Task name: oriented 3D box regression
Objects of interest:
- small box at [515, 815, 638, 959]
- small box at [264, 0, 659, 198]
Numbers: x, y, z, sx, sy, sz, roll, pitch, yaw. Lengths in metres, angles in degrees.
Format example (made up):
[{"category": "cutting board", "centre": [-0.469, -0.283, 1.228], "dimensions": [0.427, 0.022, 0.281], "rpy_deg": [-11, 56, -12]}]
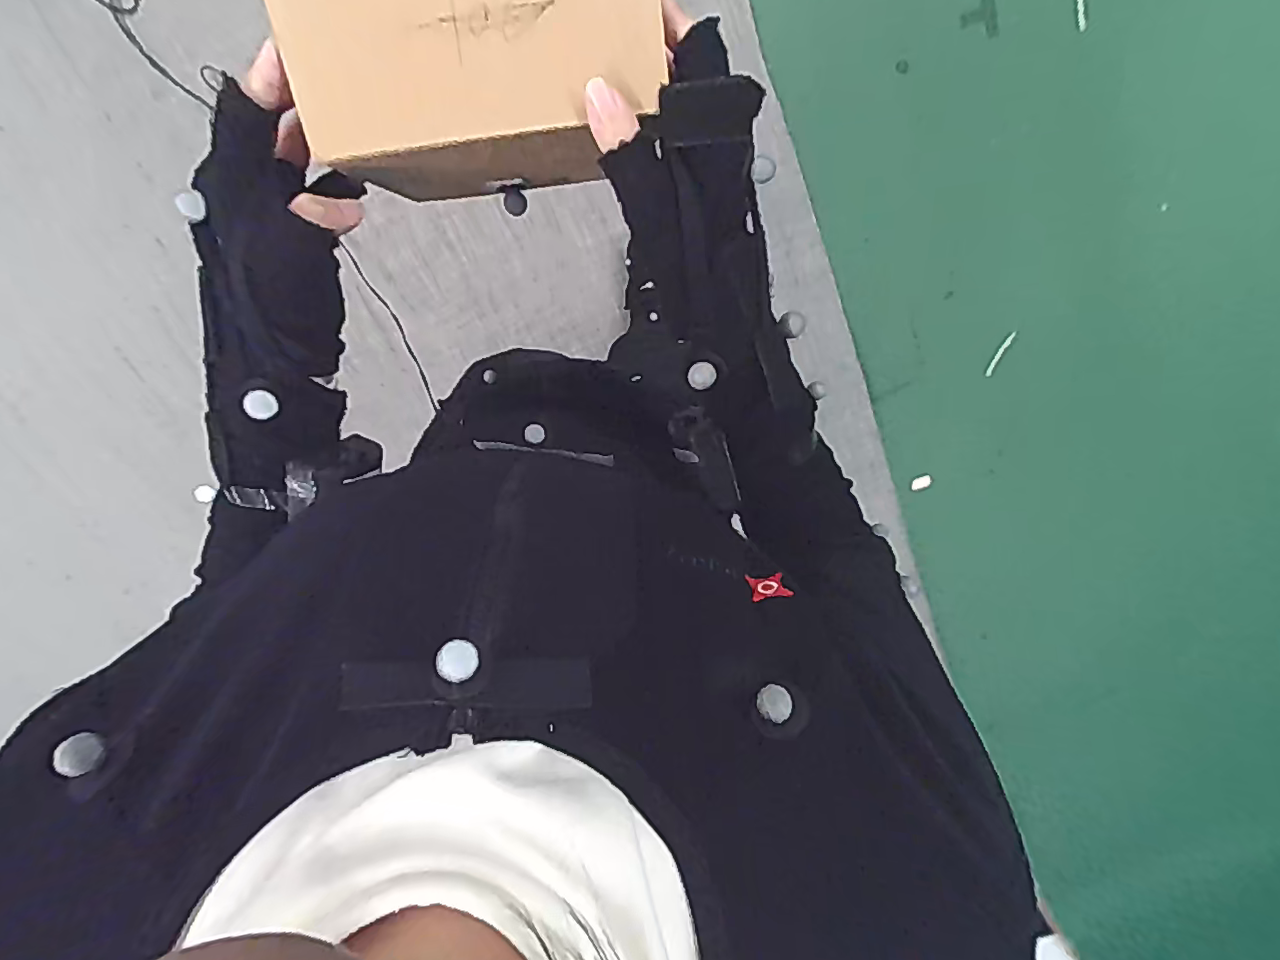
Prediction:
[{"category": "small box", "centre": [-0.106, 0.761, 0.989], "dimensions": [0.168, 0.176, 0.179], "rpy_deg": [-19, 108, 4]}, {"category": "small box", "centre": [-0.087, -0.271, 0.293], "dimensions": [0.168, 0.176, 0.179], "rpy_deg": [-8, 111, 0]}]
